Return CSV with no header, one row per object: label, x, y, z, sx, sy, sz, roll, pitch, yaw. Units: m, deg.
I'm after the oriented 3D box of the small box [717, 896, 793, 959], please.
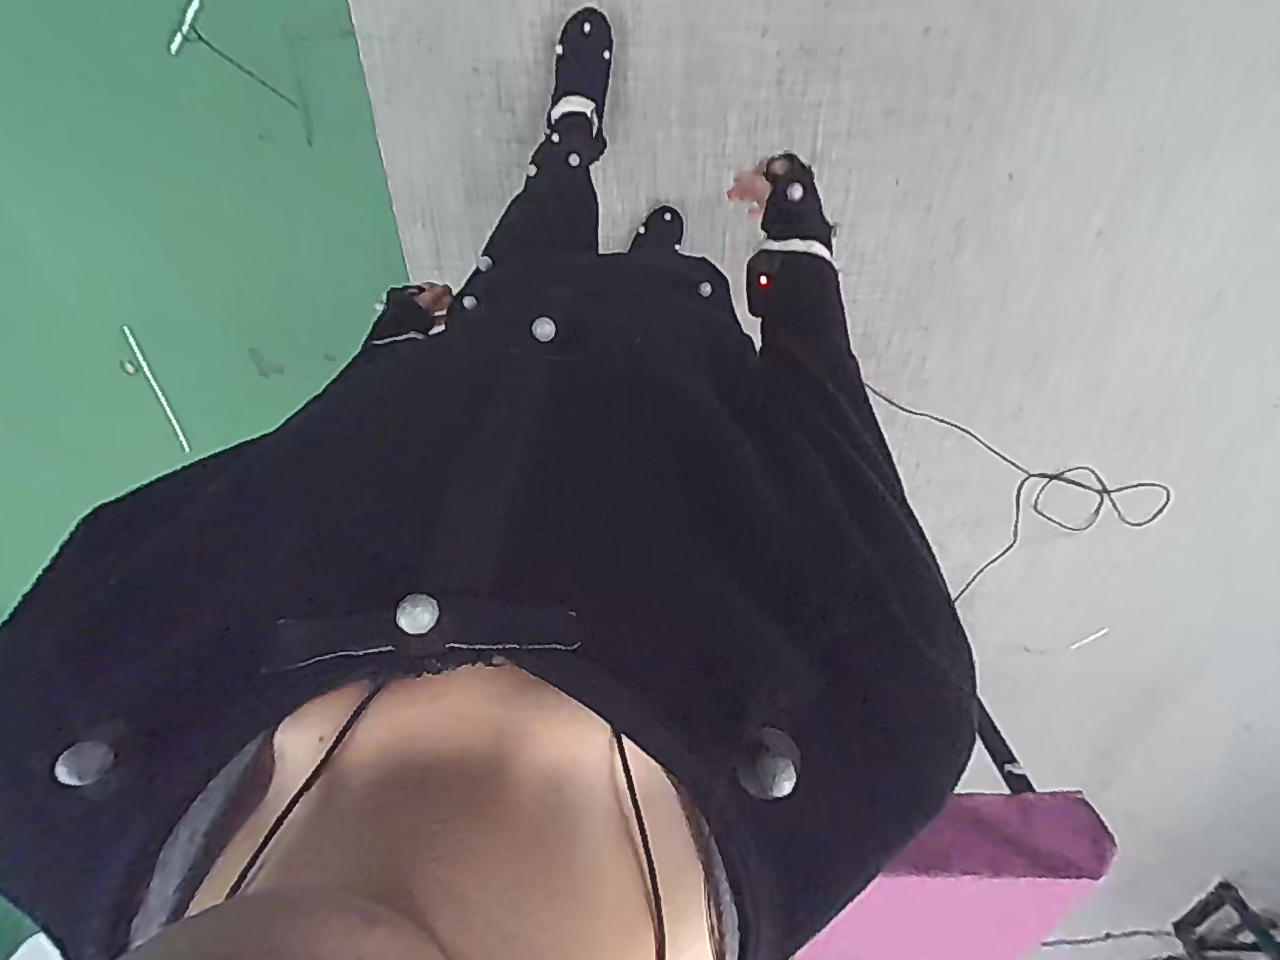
small box,0.309,1.263,1.473,0.179,0.176,0.168,-2,122,1
